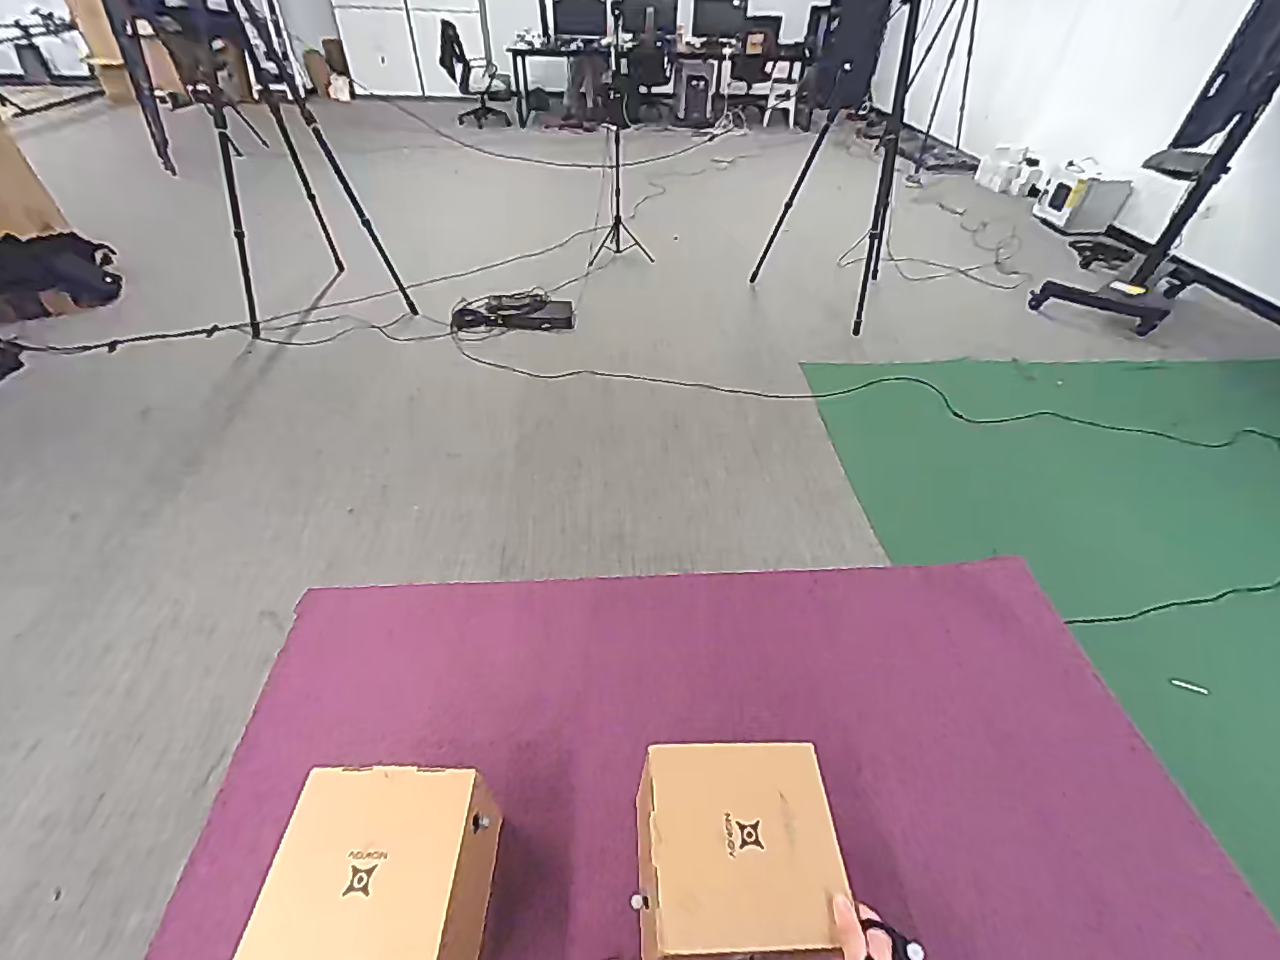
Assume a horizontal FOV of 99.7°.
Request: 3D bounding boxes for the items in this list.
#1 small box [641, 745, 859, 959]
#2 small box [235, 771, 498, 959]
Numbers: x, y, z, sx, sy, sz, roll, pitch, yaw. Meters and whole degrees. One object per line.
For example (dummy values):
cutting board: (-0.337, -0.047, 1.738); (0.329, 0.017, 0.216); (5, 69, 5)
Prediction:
small box: (0.091, 0.390, 0.555); (0.179, 0.176, 0.168); (2, 44, -4)
small box: (-0.246, 0.410, 0.534); (0.168, 0.176, 0.179); (1, 42, 0)
